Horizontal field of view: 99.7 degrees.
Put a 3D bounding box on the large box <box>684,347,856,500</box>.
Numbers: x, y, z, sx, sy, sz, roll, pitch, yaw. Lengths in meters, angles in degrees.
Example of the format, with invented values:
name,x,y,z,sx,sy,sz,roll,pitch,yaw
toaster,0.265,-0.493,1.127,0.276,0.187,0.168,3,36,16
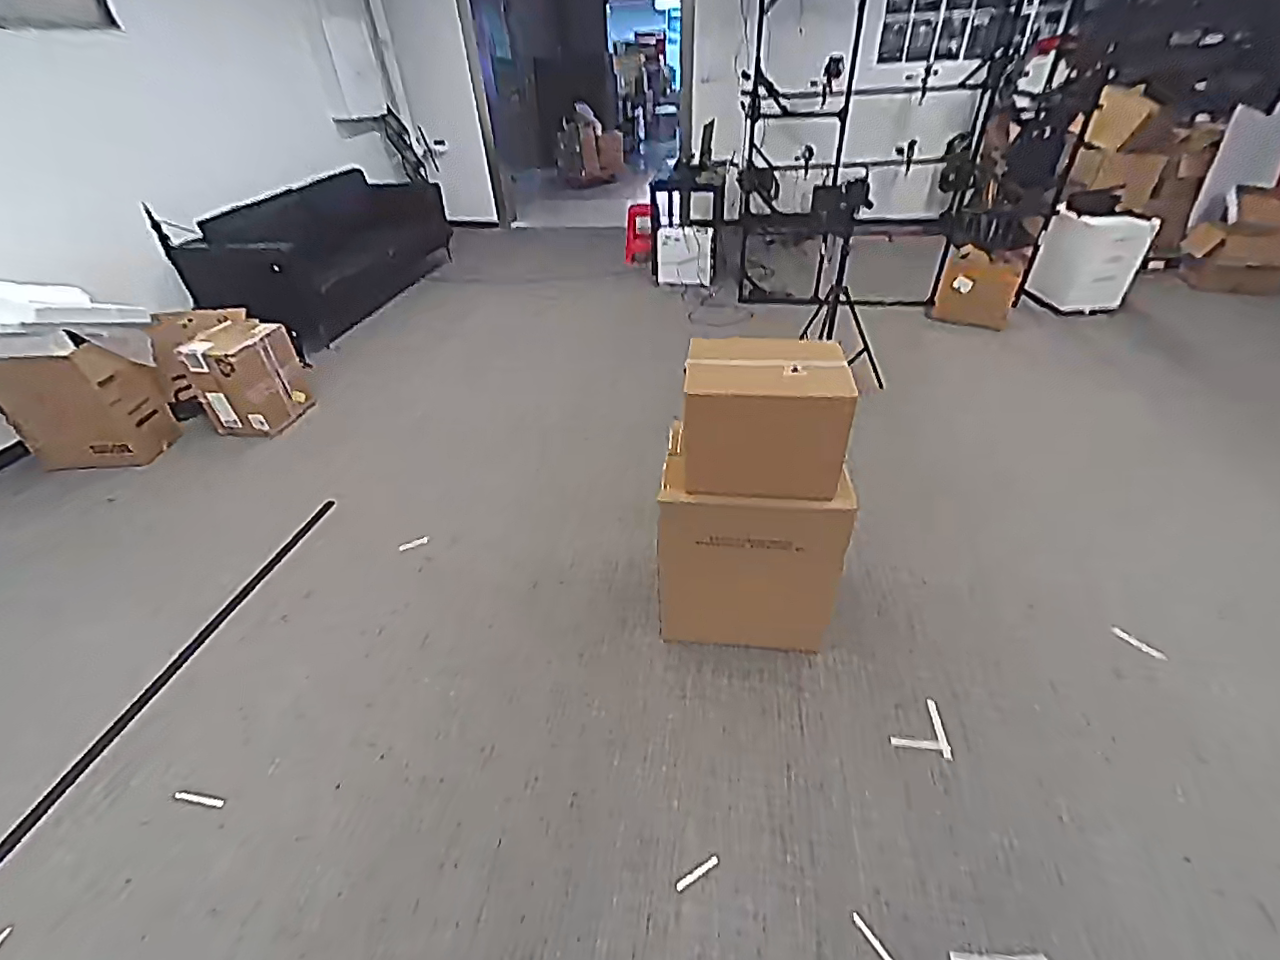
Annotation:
name,x,y,z,sx,sy,sz,roll,pitch,yaw
large box,0.329,-0.160,1.485,0.408,0.320,0.320,3,39,7
